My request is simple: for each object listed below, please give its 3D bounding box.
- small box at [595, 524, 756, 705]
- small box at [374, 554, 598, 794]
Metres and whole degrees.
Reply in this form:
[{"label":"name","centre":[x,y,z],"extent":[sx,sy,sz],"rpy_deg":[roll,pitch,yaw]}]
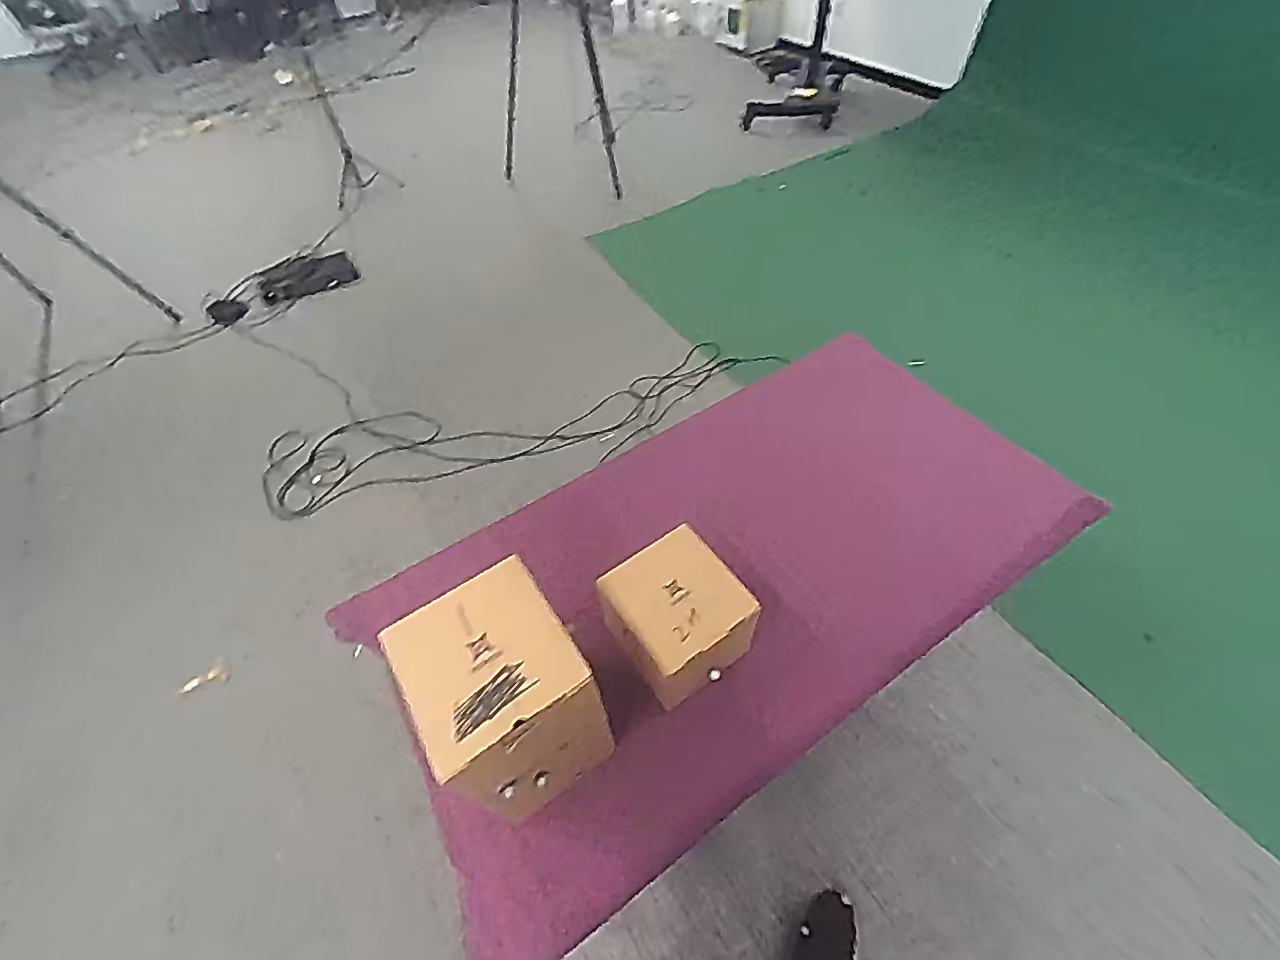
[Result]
[{"label":"small box","centre":[0.050,0.206,0.822],"extent":[0.168,0.176,0.179],"rpy_deg":[-31,57,-18]},{"label":"small box","centre":[-0.162,0.224,0.612],"extent":[0.168,0.176,0.179],"rpy_deg":[-30,56,-19]}]
